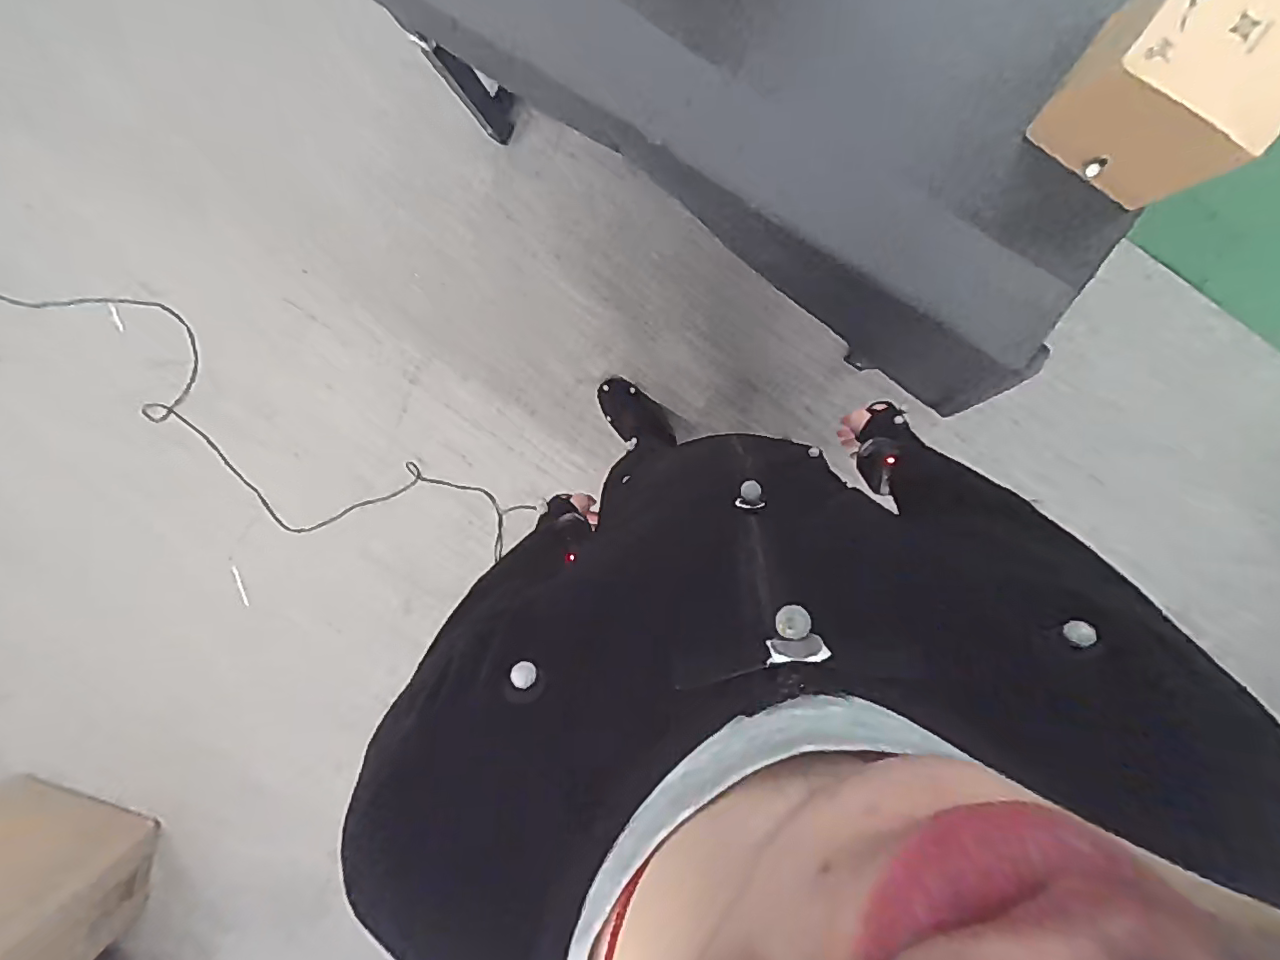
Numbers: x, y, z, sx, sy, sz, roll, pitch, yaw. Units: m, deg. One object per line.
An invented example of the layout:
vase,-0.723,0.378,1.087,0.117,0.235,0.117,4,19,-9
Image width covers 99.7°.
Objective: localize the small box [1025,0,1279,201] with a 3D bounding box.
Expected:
small box,0.605,-0.450,0.615,0.179,0.176,0.168,34,100,-3
